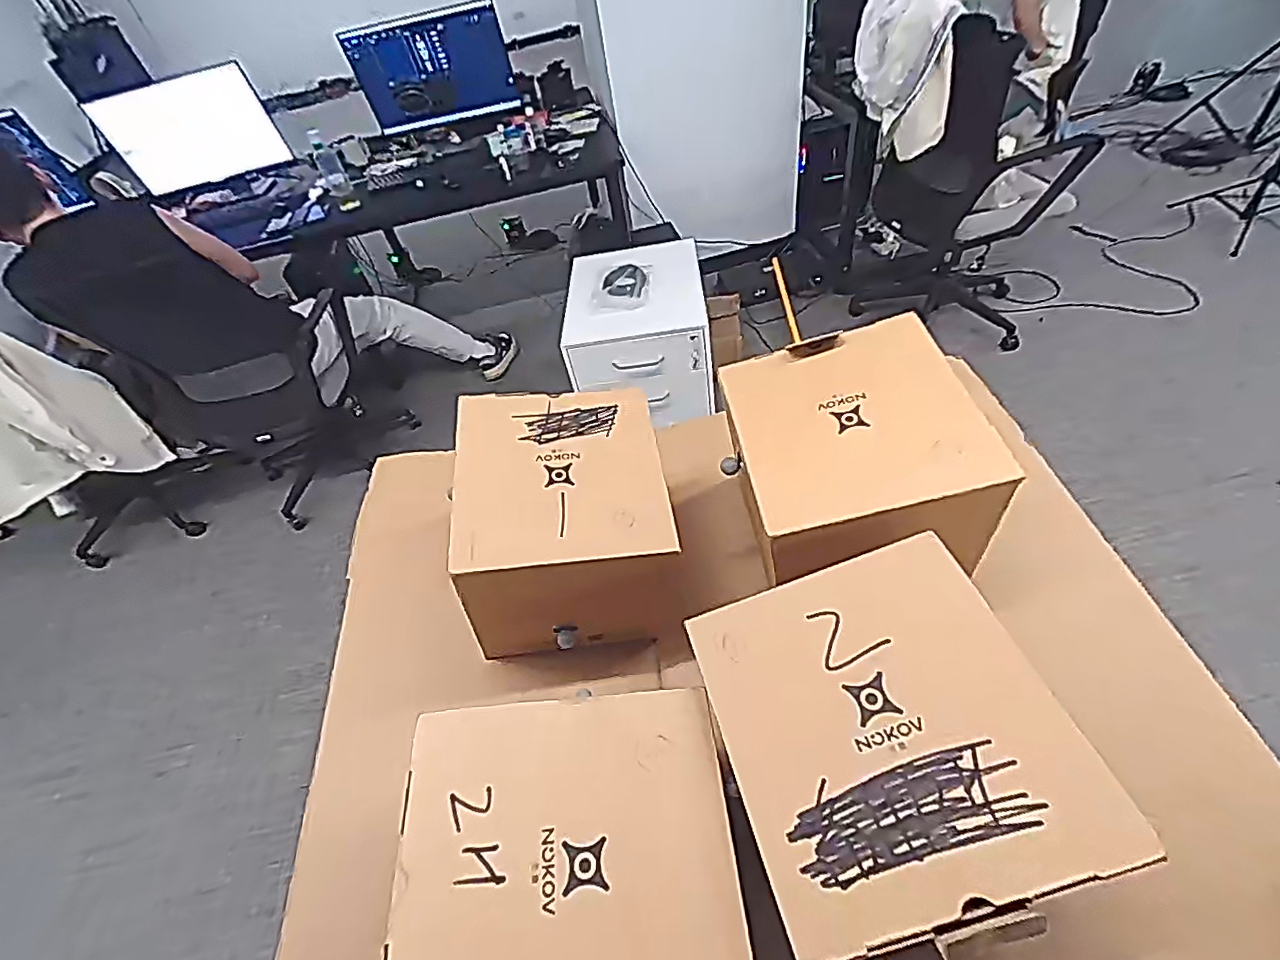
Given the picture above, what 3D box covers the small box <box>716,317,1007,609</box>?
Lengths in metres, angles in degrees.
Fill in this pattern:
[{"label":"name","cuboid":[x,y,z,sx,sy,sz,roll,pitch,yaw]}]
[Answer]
[{"label":"small box","cuboid":[0.174,-0.002,0.471,0.168,0.176,0.179,-15,51,9]}]
